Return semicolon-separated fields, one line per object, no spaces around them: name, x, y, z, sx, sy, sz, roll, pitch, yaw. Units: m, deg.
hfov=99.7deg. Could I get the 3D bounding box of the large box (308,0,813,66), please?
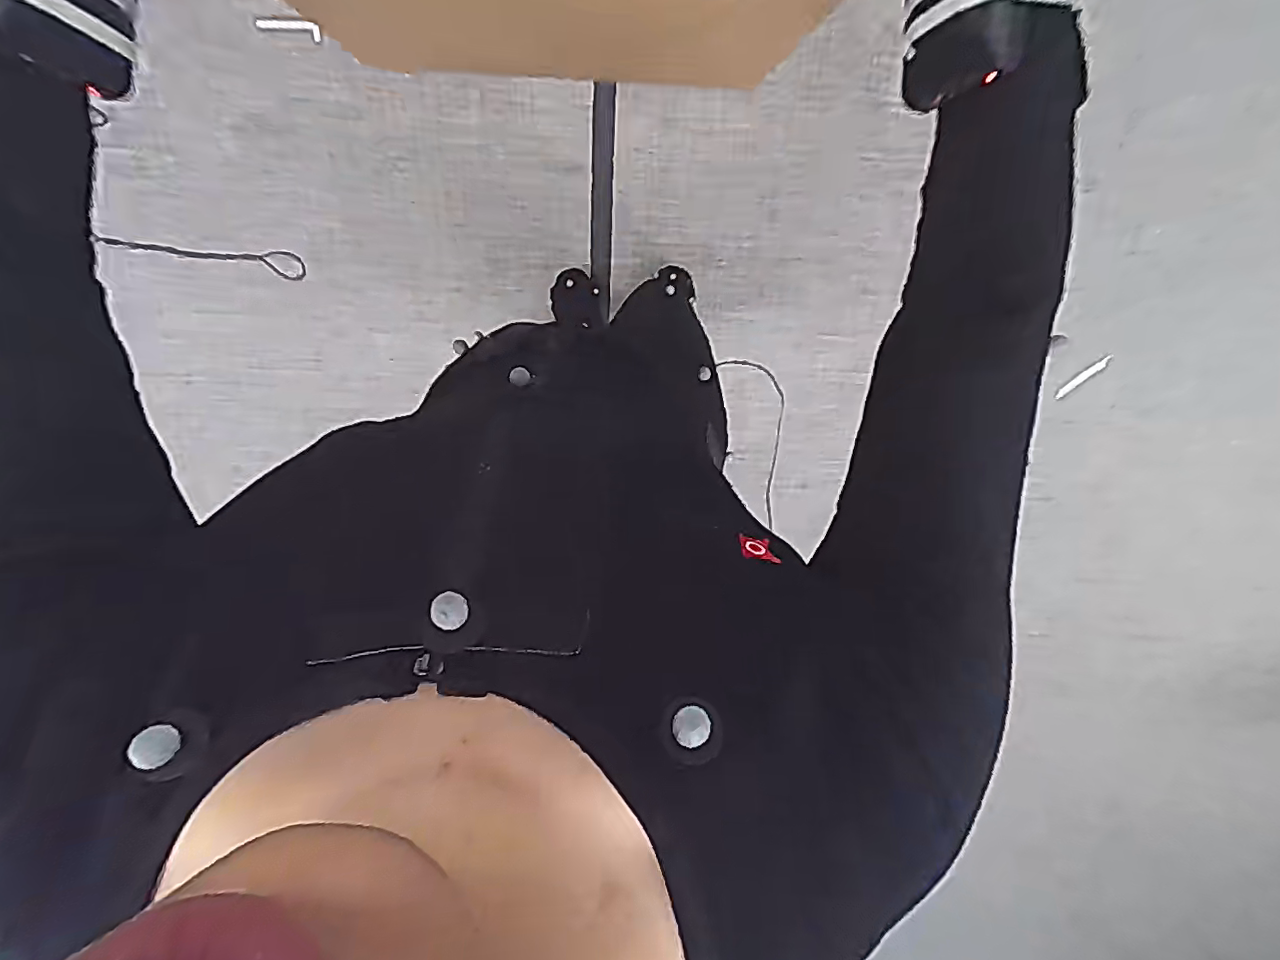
large box;-0.062;-0.506;0.355;0.408;0.320;0.320;-1;115;-5
